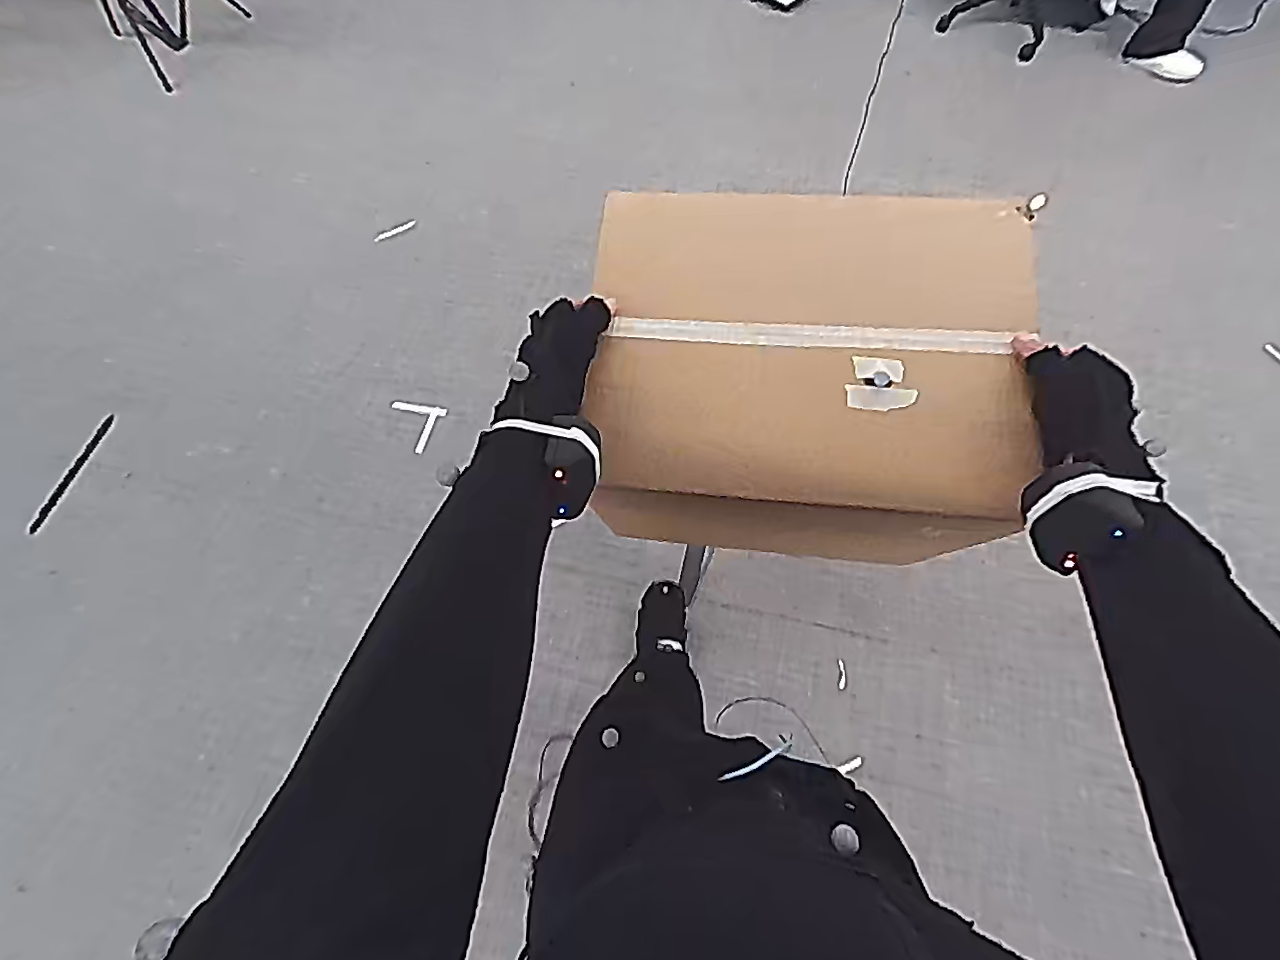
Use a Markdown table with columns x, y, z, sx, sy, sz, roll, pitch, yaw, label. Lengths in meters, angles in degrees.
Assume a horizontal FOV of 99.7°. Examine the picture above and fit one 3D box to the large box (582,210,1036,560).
| x | y | z | sx | sy | sz | roll | pitch | yaw | label |
| --- | --- | --- | --- | --- | --- | --- | --- | --- | --- |
| 0.168 | -0.089 | 0.660 | 0.408 | 0.320 | 0.320 | 5 | 76 | 7 | large box |
